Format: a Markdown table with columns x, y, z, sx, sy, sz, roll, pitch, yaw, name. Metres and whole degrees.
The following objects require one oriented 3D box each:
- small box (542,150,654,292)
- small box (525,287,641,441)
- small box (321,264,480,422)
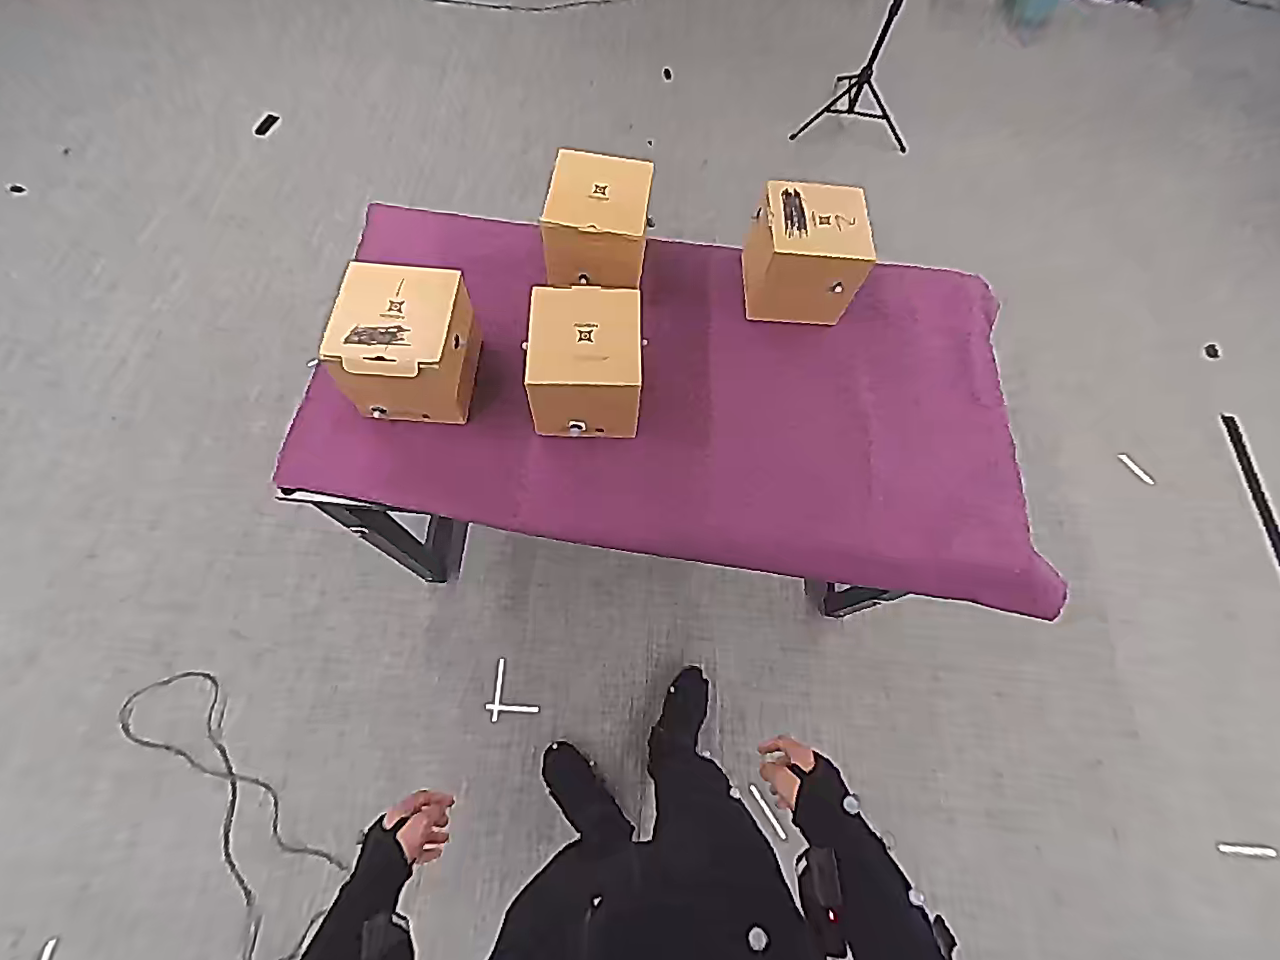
| x | y | z | sx | sy | sz | roll | pitch | yaw | name |
| --- | --- | --- | --- | --- | --- | --- | --- | --- | --- |
| -0.074 | -0.442 | 0.967 | 0.168 | 0.176 | 0.179 | 8 | 68 | -2 | small box |
| -0.086 | -0.180 | 0.863 | 0.168 | 0.176 | 0.179 | 1 | 68 | -3 | small box |
| -0.359 | -0.206 | 0.850 | 0.168 | 0.176 | 0.179 | 4 | 66 | -3 | small box |
